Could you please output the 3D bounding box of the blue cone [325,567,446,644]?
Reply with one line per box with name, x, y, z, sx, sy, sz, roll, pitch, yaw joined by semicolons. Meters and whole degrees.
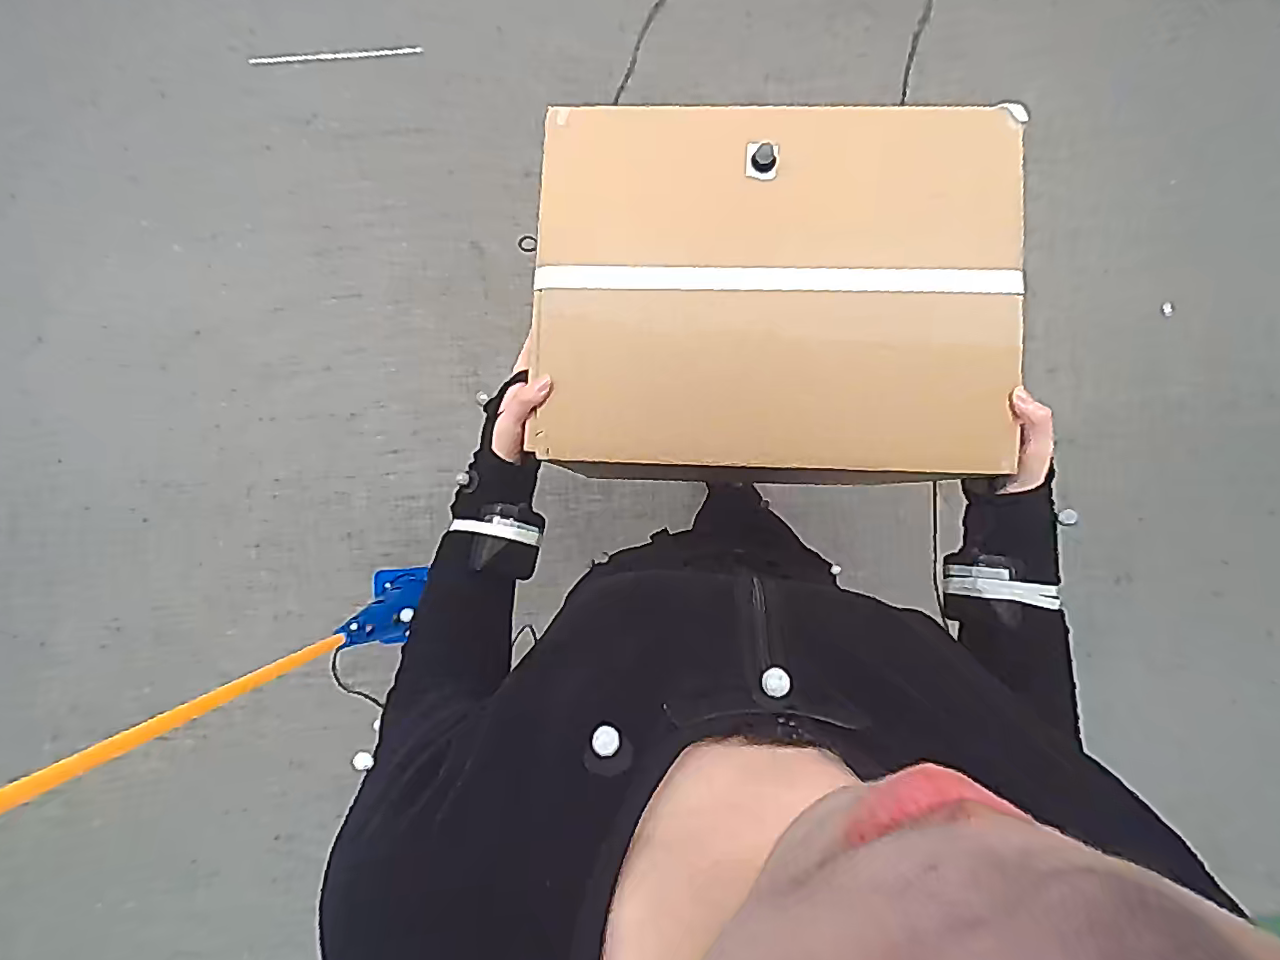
blue cone;-0.616;0.329;1.278;0.193;0.380;0.192;-6;88;1
